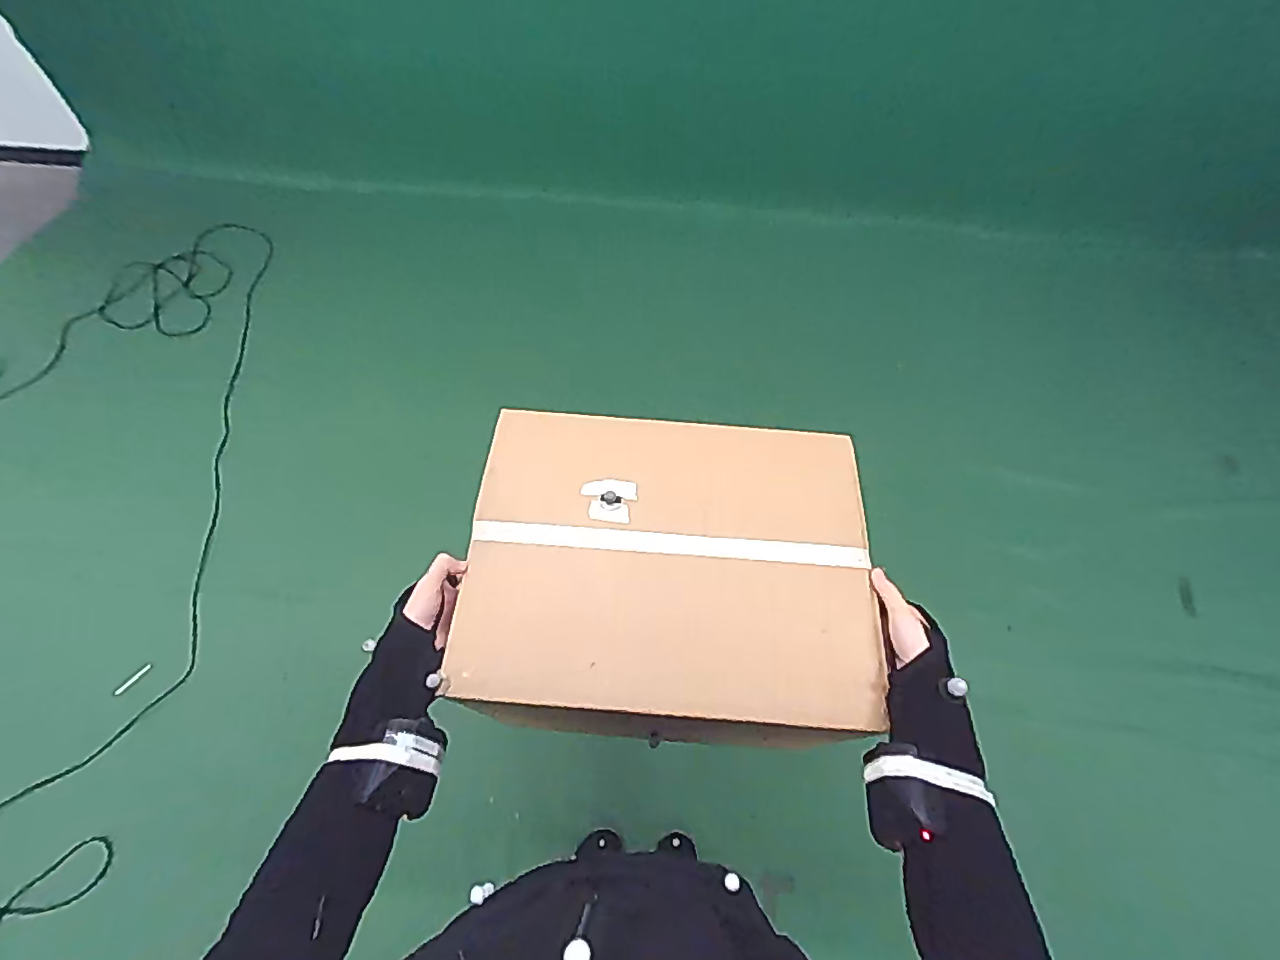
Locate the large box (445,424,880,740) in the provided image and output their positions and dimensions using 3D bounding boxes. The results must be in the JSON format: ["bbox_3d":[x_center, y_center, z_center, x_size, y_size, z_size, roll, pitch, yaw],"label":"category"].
[{"bbox_3d":[0.026,0.148,0.690,0.408,0.320,0.320,3,60,1],"label":"large box"}]
